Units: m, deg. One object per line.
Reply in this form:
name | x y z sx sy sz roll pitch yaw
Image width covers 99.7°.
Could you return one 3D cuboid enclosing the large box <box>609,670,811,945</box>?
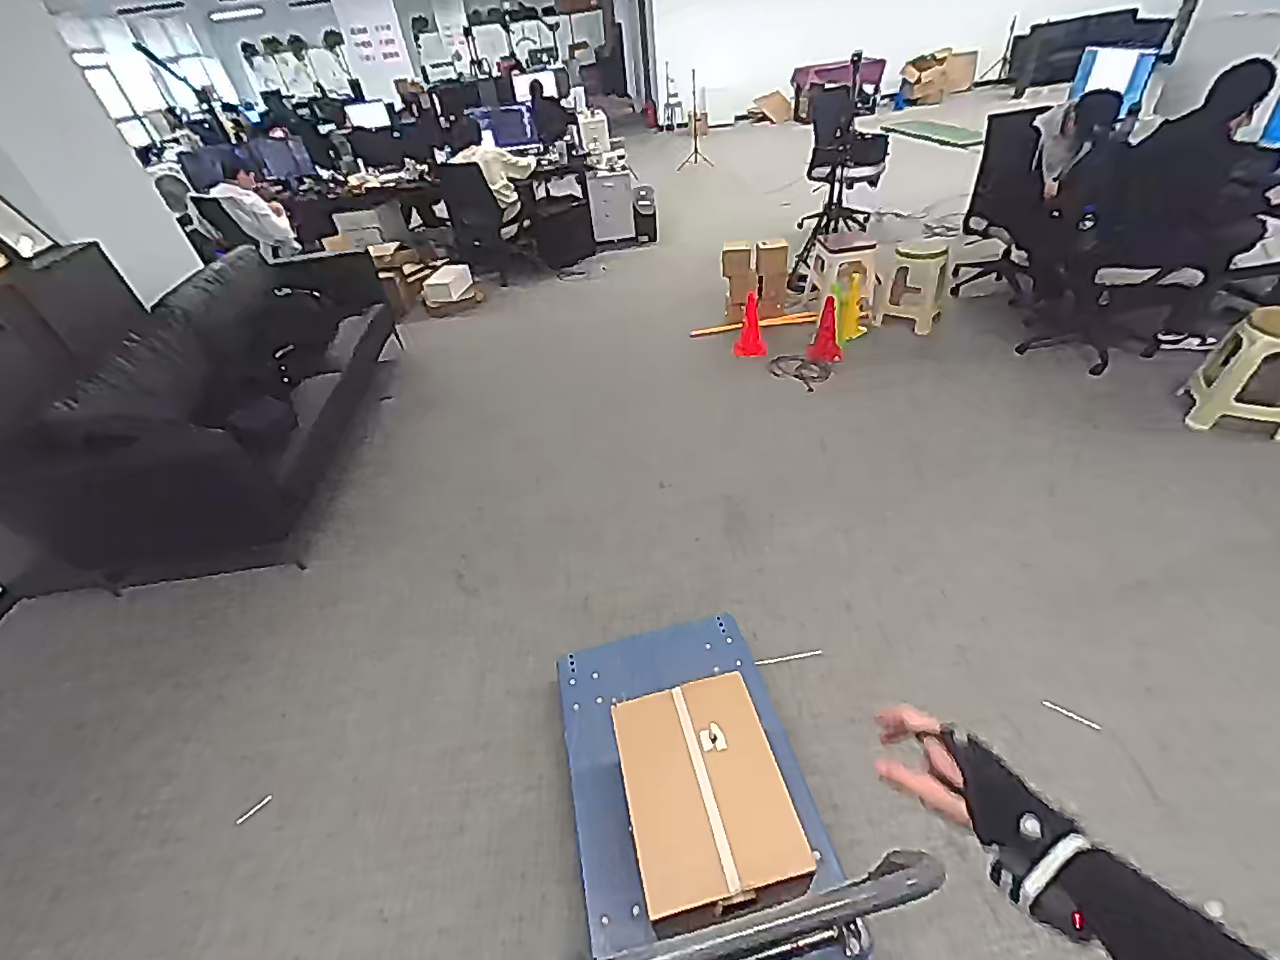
large box | 0.139 0.716 1.207 0.320 0.320 0.408 -13 41 -6
